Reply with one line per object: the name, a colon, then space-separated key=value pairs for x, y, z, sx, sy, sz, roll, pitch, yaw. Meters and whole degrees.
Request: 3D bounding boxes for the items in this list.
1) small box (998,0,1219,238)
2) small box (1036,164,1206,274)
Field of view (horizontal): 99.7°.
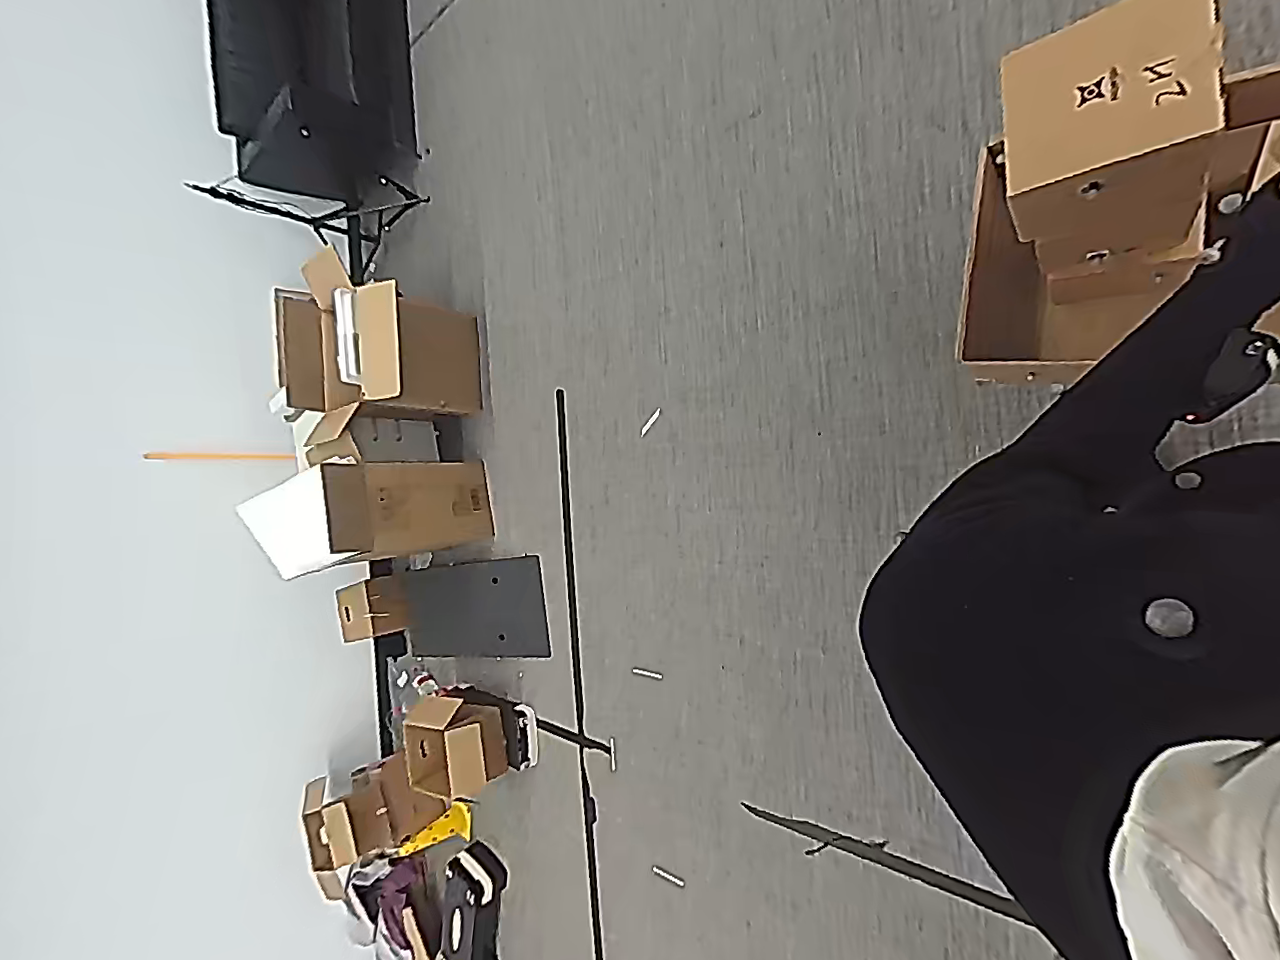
small box: x=0.536 y=-0.408 z=0.631 sx=0.179 sy=0.176 sz=0.168 roll=-3 pitch=90 yaw=40
small box: x=0.650 y=-0.412 z=0.748 sx=0.168 sy=0.176 sz=0.179 roll=-3 pitch=89 yaw=40
